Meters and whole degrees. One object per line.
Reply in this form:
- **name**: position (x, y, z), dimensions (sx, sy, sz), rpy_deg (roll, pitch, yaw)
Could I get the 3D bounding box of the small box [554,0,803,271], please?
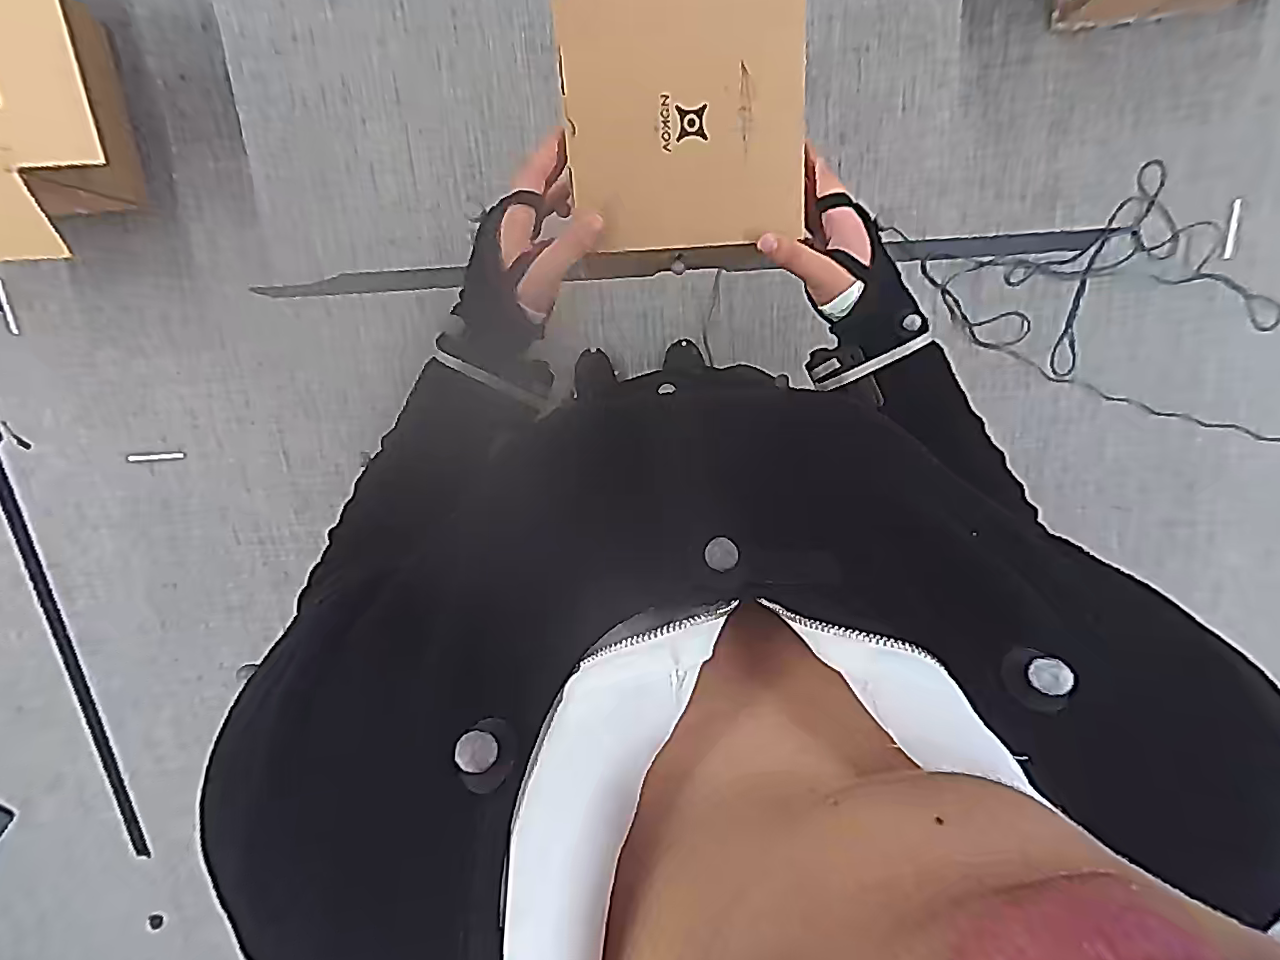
- **small box**: position (0.027, -0.282, 0.471), dimensions (0.179, 0.176, 0.168), rpy_deg (-6, 107, -4)
